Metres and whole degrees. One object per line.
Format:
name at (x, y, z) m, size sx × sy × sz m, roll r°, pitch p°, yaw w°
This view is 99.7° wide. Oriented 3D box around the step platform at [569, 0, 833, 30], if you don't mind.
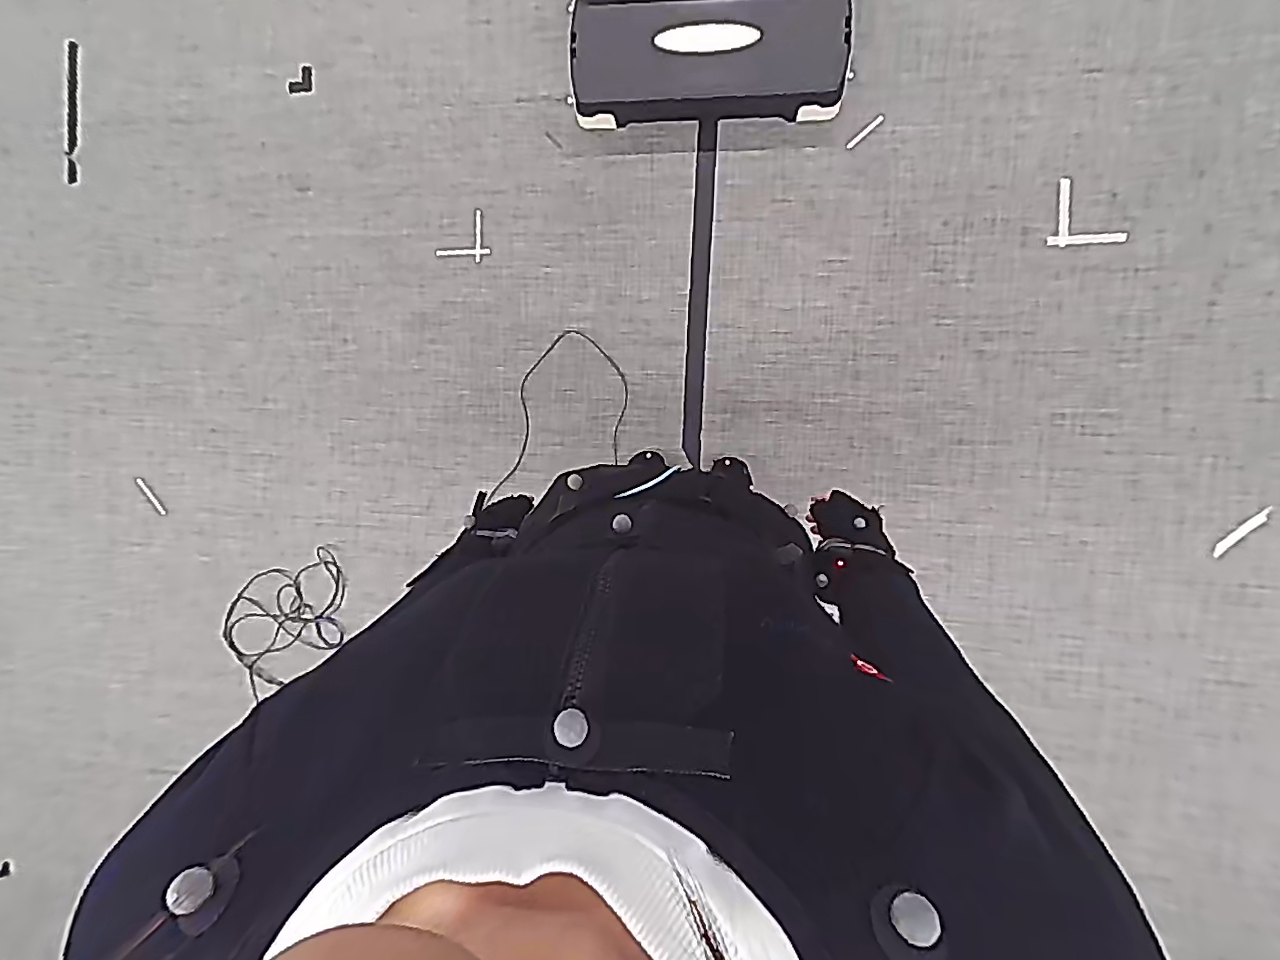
step platform at (0.144, -1.300, 1.272) m, size 0.684 × 0.204 × 0.286 m, roll 1°, pitch 94°, yaw 6°
